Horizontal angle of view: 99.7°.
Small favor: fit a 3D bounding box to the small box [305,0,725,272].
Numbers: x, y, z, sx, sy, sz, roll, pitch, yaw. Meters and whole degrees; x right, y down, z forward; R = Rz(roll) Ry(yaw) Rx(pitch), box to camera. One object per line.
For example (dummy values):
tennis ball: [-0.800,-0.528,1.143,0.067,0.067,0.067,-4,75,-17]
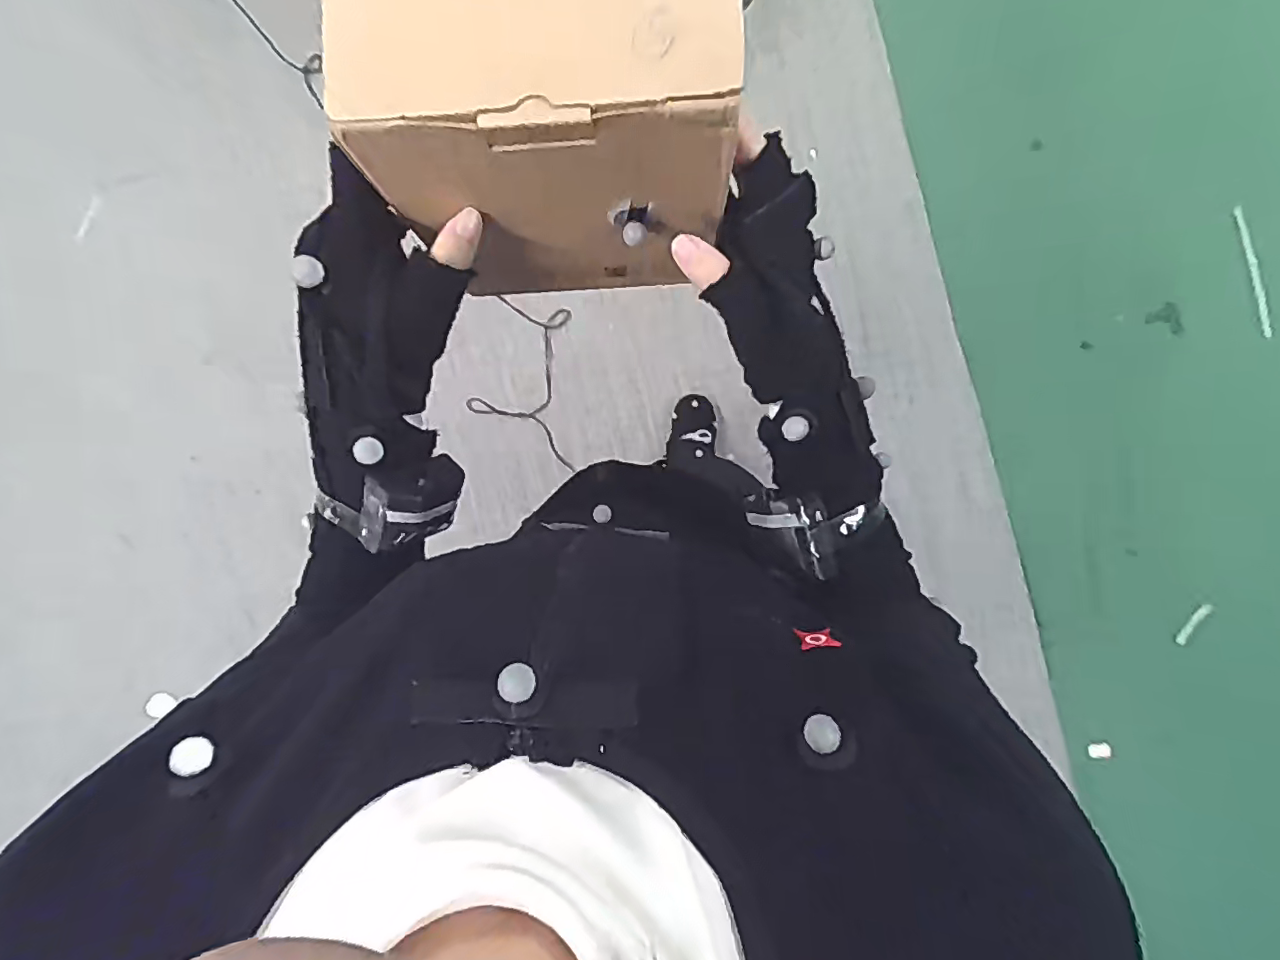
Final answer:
small box: [-0.047,-0.227,0.292,0.168,0.176,0.179,-2,85,1]
